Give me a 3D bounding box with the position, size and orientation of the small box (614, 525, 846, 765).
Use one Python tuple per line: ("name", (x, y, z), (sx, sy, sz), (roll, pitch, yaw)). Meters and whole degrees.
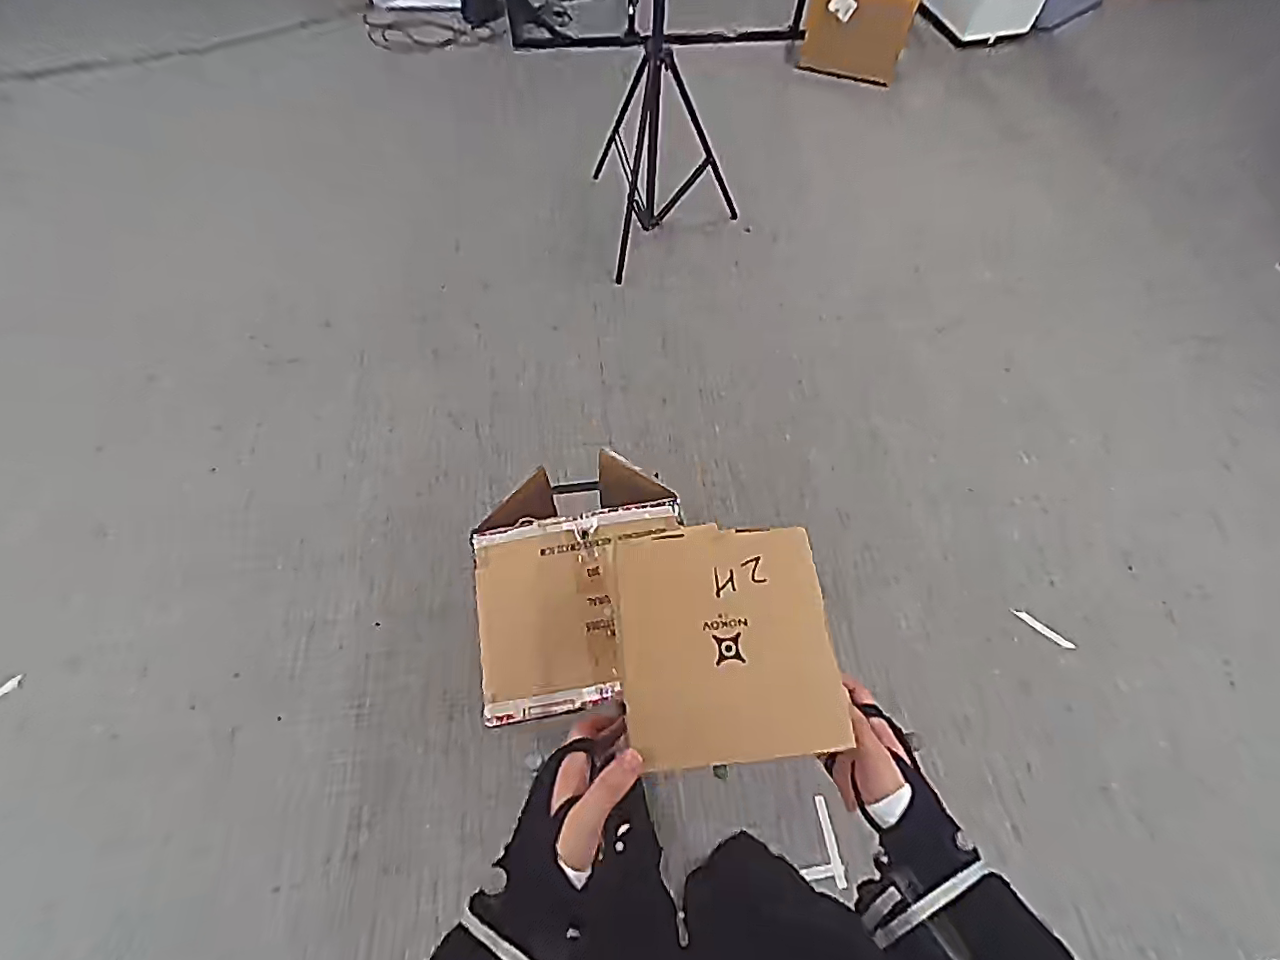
("small box", (0.062, 0.155, 0.501), (0.168, 0.176, 0.179), (-3, 64, -6))
